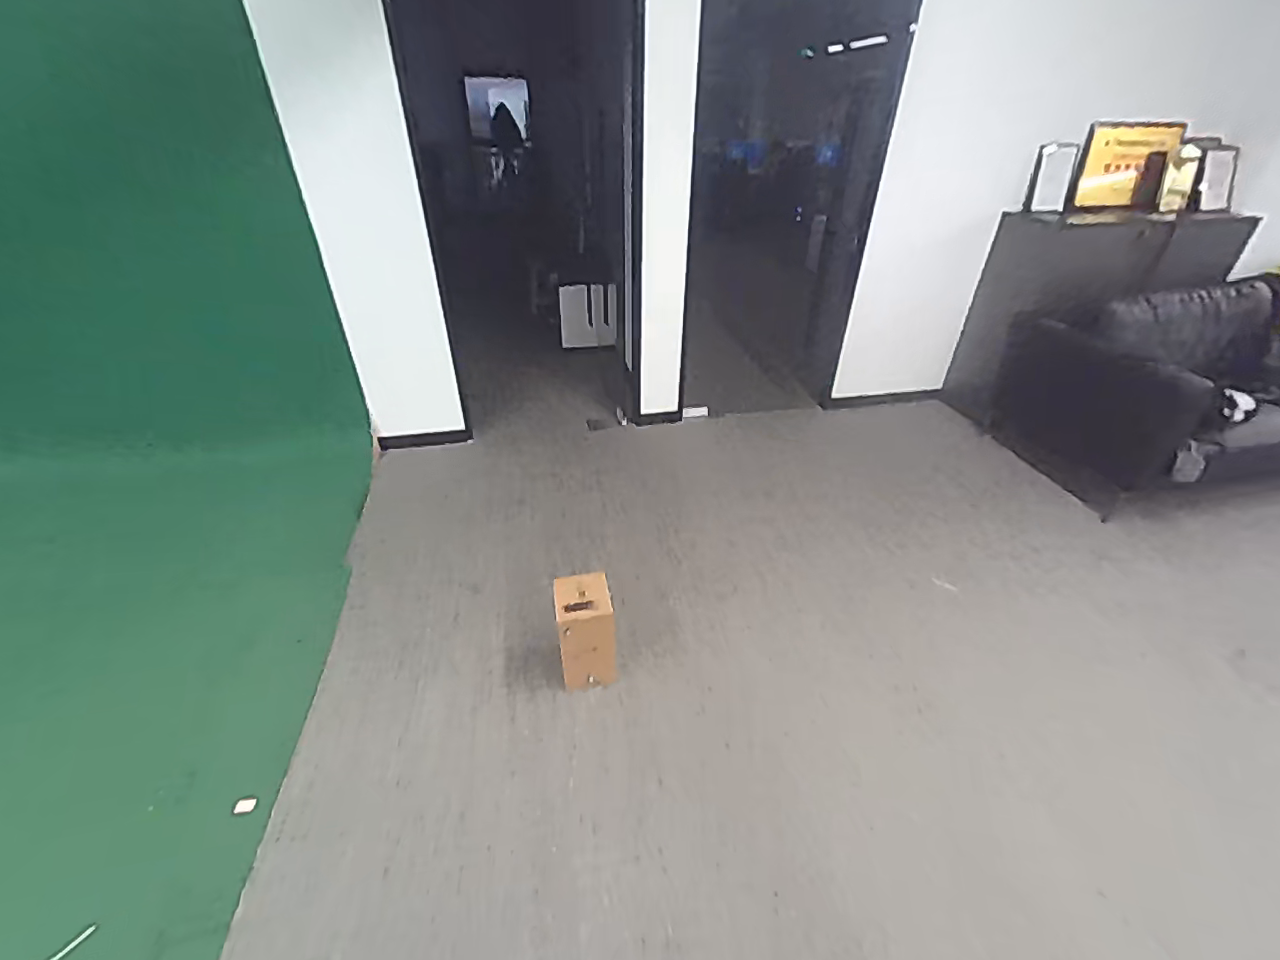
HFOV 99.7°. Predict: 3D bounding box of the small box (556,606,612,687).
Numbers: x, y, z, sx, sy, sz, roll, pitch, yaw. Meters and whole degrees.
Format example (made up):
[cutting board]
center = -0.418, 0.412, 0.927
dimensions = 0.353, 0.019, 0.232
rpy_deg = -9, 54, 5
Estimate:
[small box]
center = -0.182, 0.539, 1.753
dimensions = 0.168, 0.176, 0.179
rpy_deg = -6, 36, -9
